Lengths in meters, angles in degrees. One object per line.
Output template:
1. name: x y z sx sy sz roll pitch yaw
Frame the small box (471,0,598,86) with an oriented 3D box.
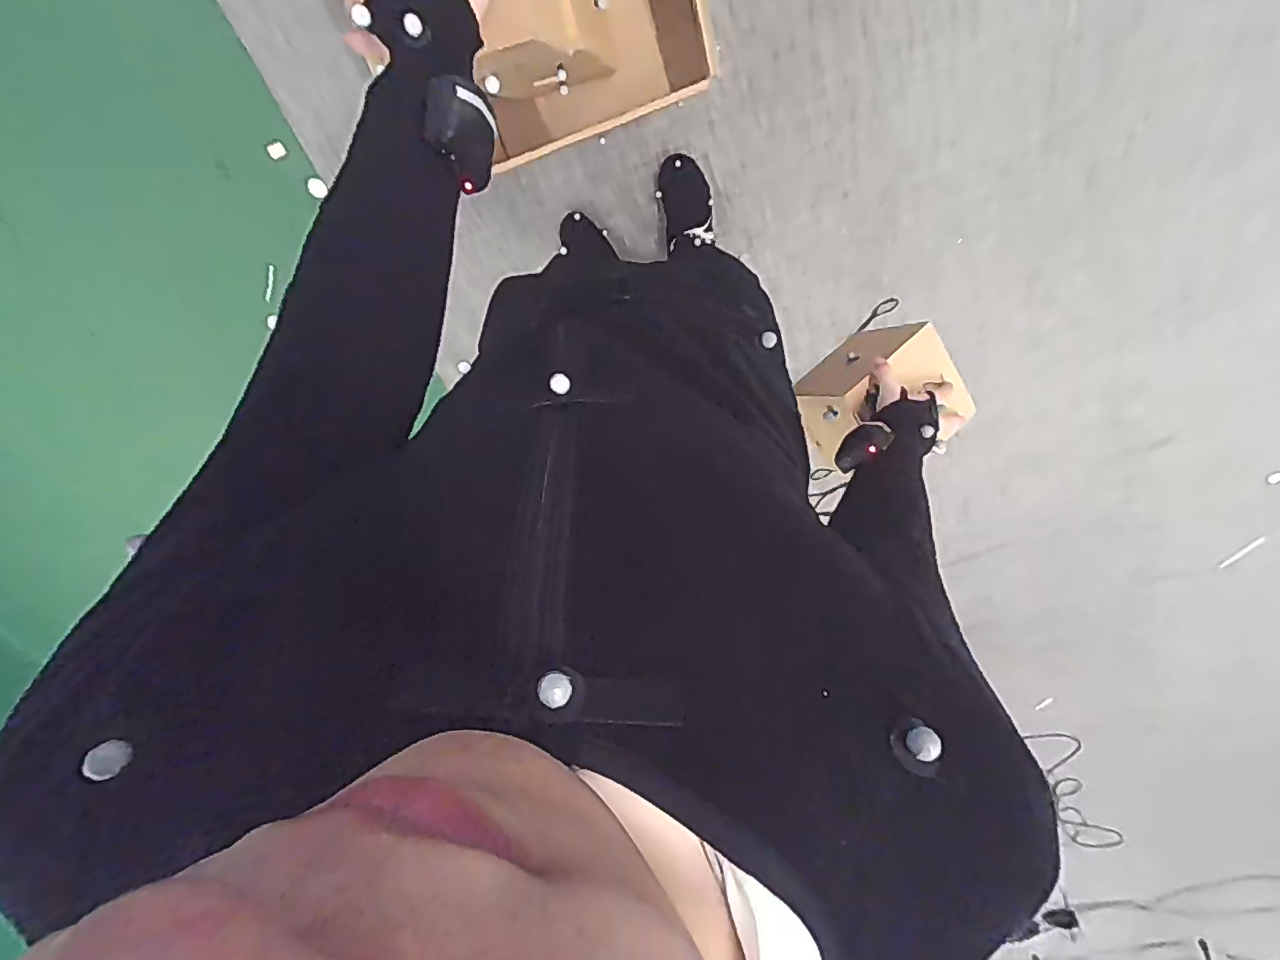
1. small box: -0.157 -0.597 0.653 0.168 0.176 0.179 -7 122 11

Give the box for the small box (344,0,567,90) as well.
1. small box: -0.182 -0.502 0.522 0.168 0.176 0.179 -7 123 11
